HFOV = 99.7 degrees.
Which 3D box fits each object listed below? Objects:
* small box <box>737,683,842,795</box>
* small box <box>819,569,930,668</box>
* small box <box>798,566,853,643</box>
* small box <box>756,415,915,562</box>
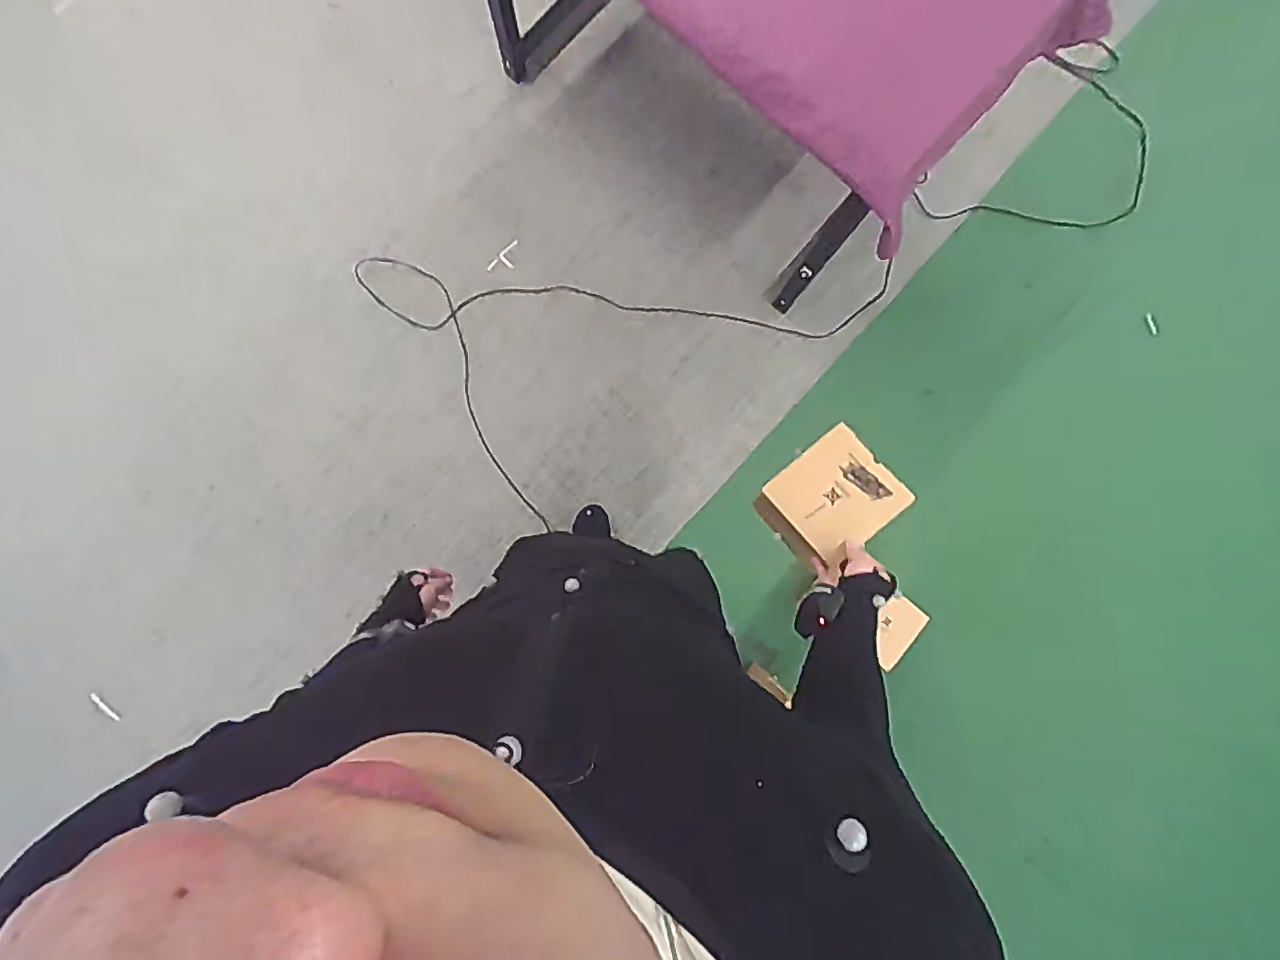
[{"bbox_3d":[0.372,0.649,1.386,0.179,0.176,0.168,41,86,1],"label":"small box"},{"bbox_3d":[0.603,0.352,1.416,0.168,0.176,0.179,41,85,0],"label":"small box"},{"bbox_3d":[0.597,0.367,1.580,0.179,0.176,0.168,41,85,-1],"label":"small box"},{"bbox_3d":[0.315,0.023,0.916,0.179,0.176,0.168,-40,77,-2],"label":"small box"}]
